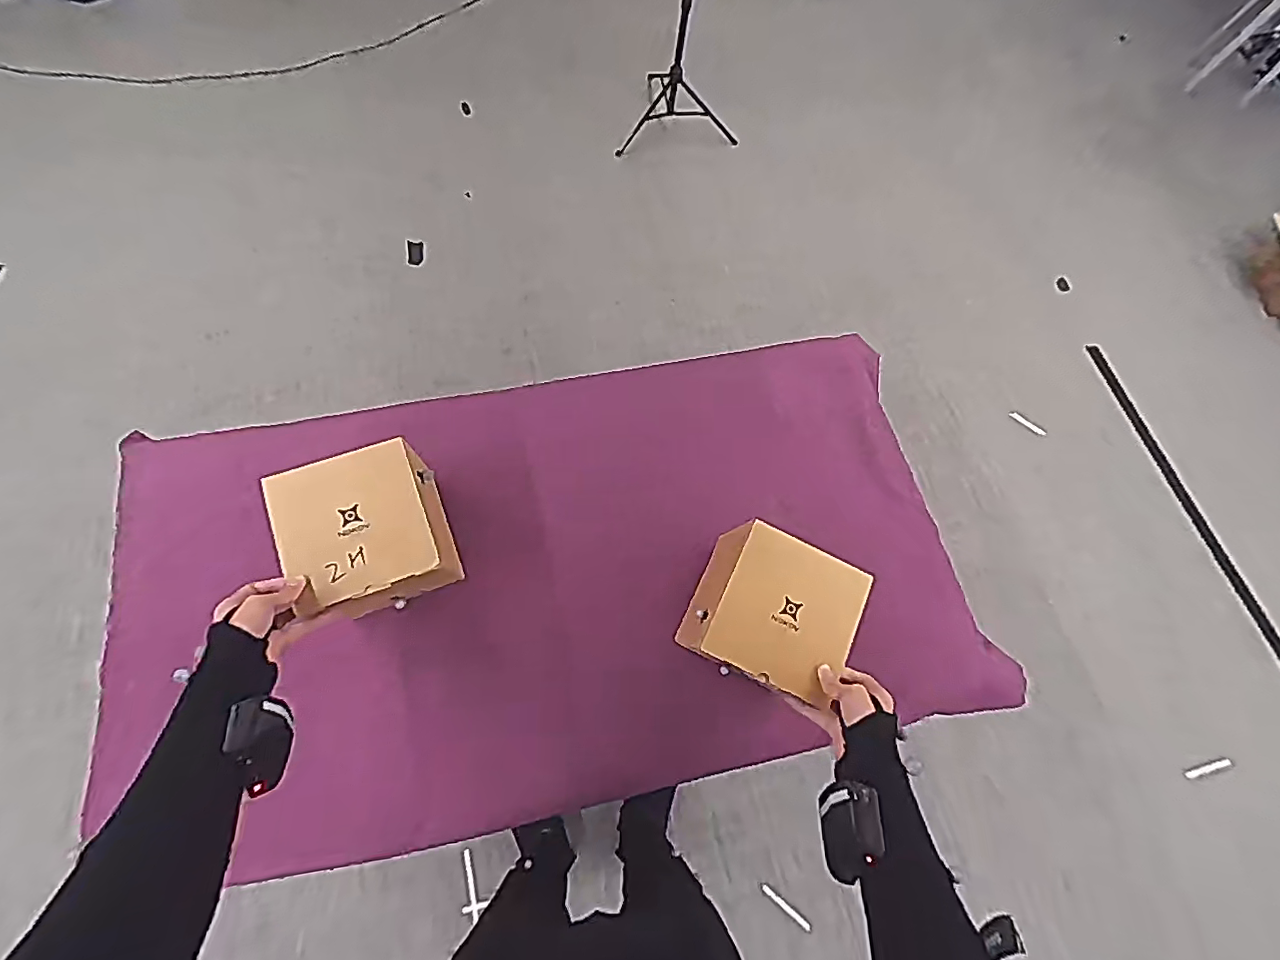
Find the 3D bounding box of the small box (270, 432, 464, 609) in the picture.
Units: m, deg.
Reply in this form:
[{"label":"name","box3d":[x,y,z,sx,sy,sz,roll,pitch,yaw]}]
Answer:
[{"label":"small box","box3d":[-0.350,0.062,0.723,0.168,0.176,0.179,-19,79,-12]}]

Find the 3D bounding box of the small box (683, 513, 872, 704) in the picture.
[{"label":"small box","box3d":[0.171,0.168,0.725,0.168,0.176,0.179,27,76,0]}]
